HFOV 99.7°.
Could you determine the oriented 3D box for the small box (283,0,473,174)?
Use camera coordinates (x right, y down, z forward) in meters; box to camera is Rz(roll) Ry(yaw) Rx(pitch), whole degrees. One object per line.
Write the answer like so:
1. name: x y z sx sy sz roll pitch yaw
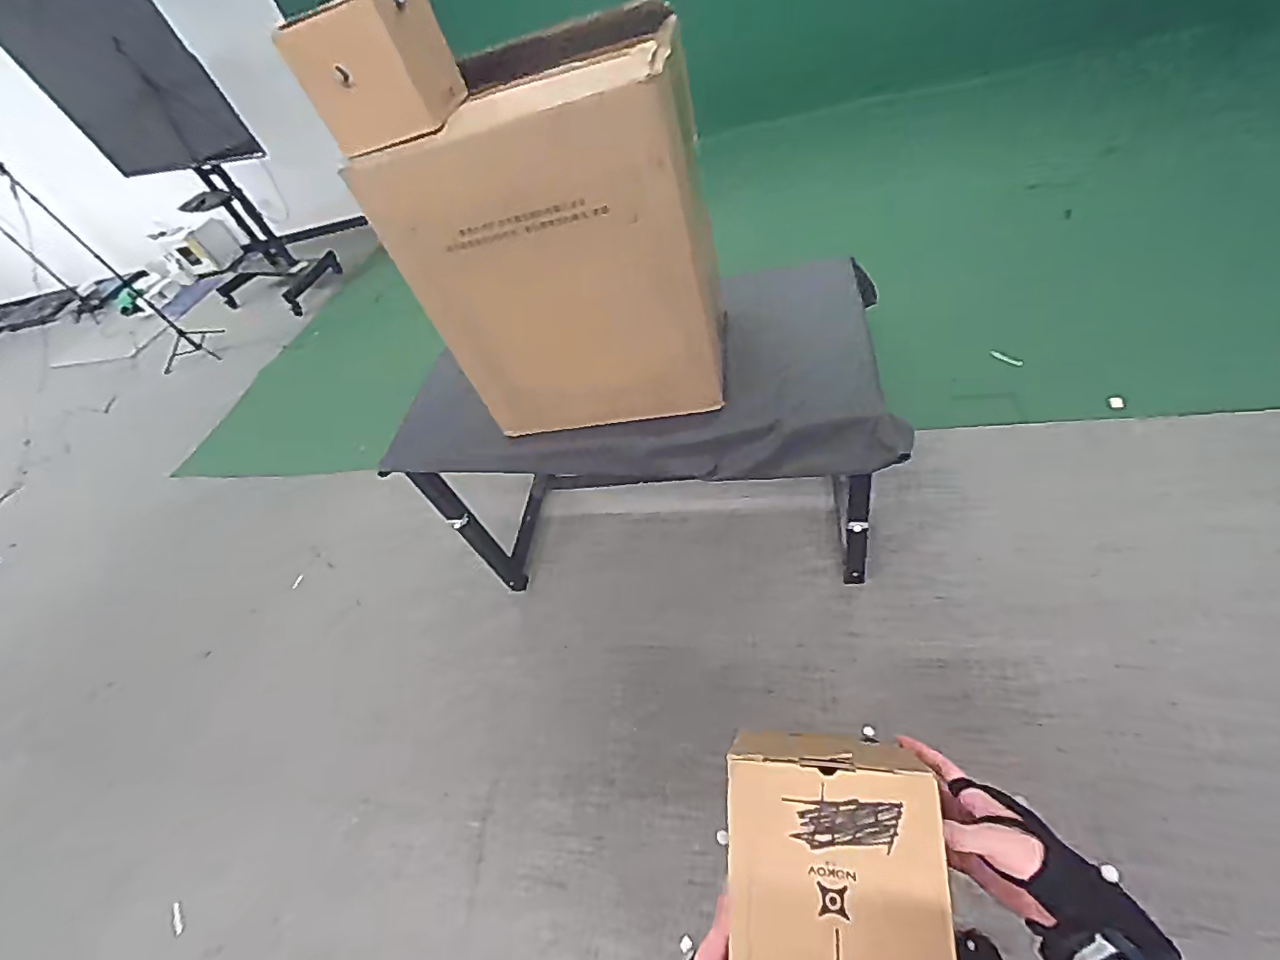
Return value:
1. small box: -0.401 -0.619 0.859 0.179 0.176 0.168 -7 49 17
